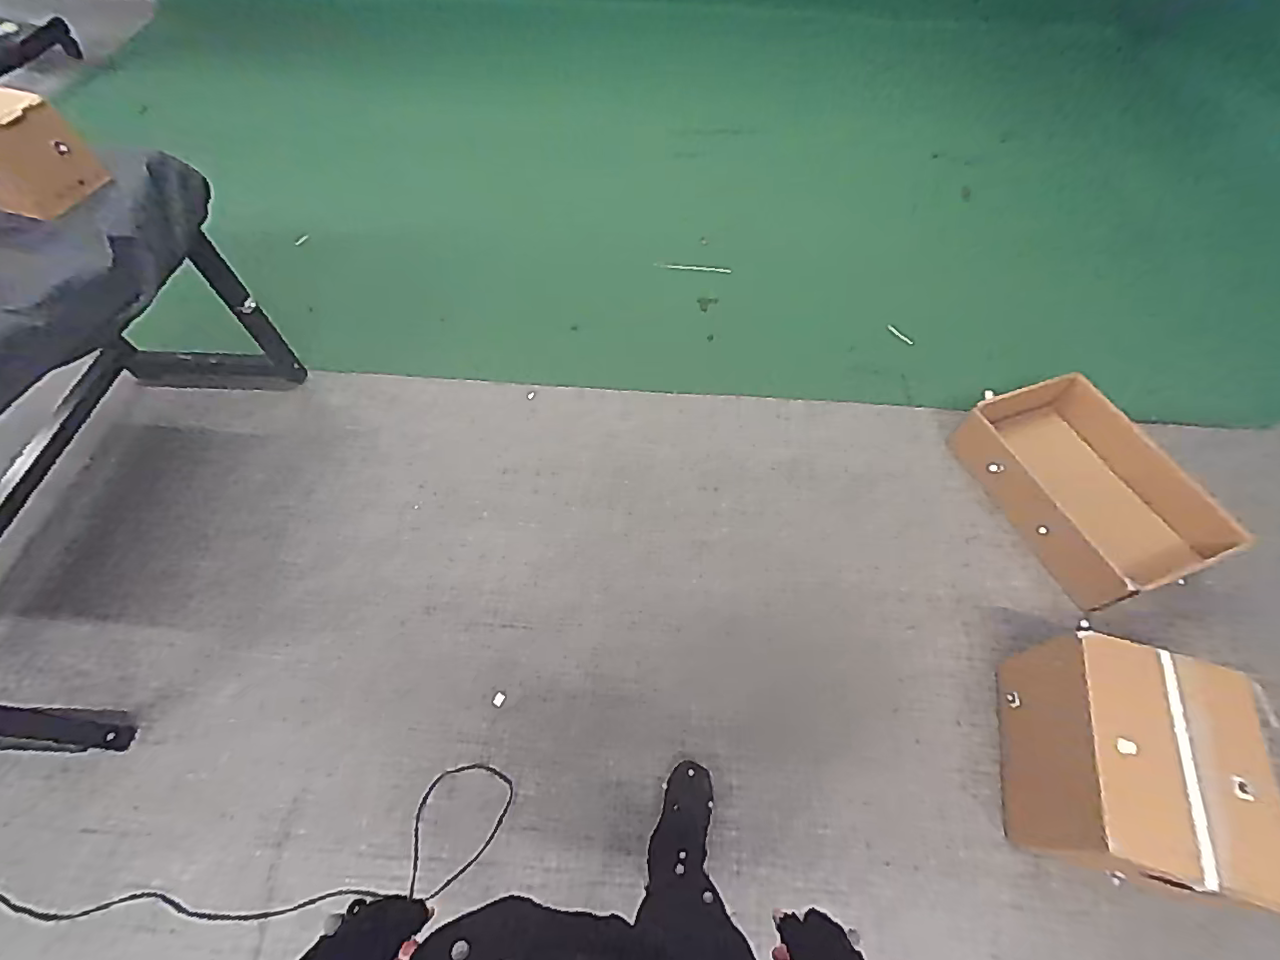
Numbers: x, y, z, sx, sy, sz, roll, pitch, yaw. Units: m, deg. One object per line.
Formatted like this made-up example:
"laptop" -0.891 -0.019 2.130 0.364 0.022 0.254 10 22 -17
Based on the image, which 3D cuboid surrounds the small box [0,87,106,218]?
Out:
"small box" -1.256 -0.653 1.083 0.179 0.176 0.168 14 59 9
